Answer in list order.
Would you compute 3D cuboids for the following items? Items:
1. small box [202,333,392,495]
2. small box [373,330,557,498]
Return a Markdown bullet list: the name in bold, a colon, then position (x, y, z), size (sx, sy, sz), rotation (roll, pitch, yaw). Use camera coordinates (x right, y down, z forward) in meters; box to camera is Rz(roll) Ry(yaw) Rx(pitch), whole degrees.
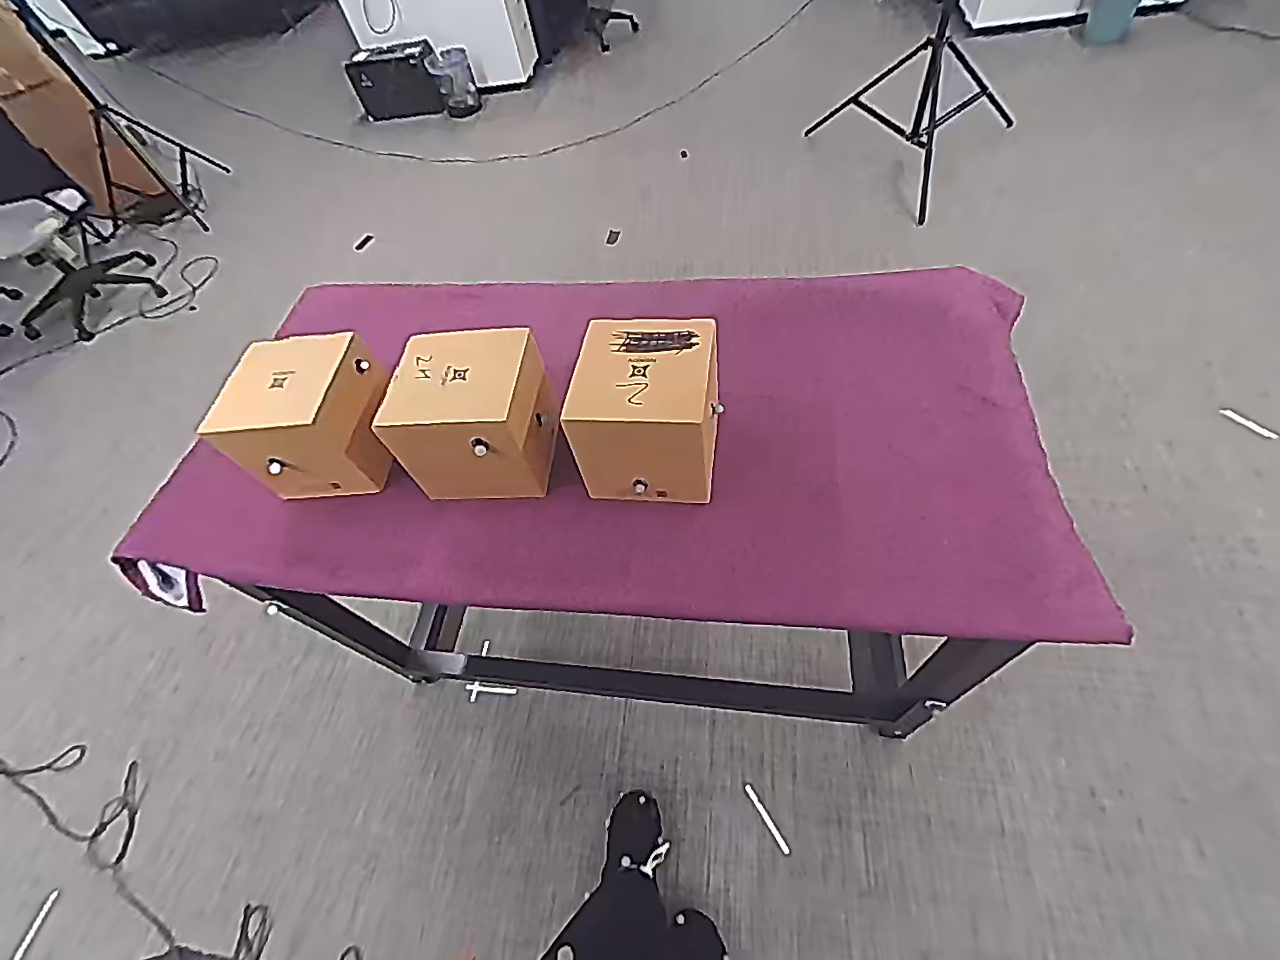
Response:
- **small box**: position (-0.476, -0.088, 0.803), size (0.168, 0.176, 0.179), rotation (-4, 55, 7)
- **small box**: position (-0.225, -0.086, 0.754), size (0.179, 0.176, 0.168), rotation (-2, 54, 8)
